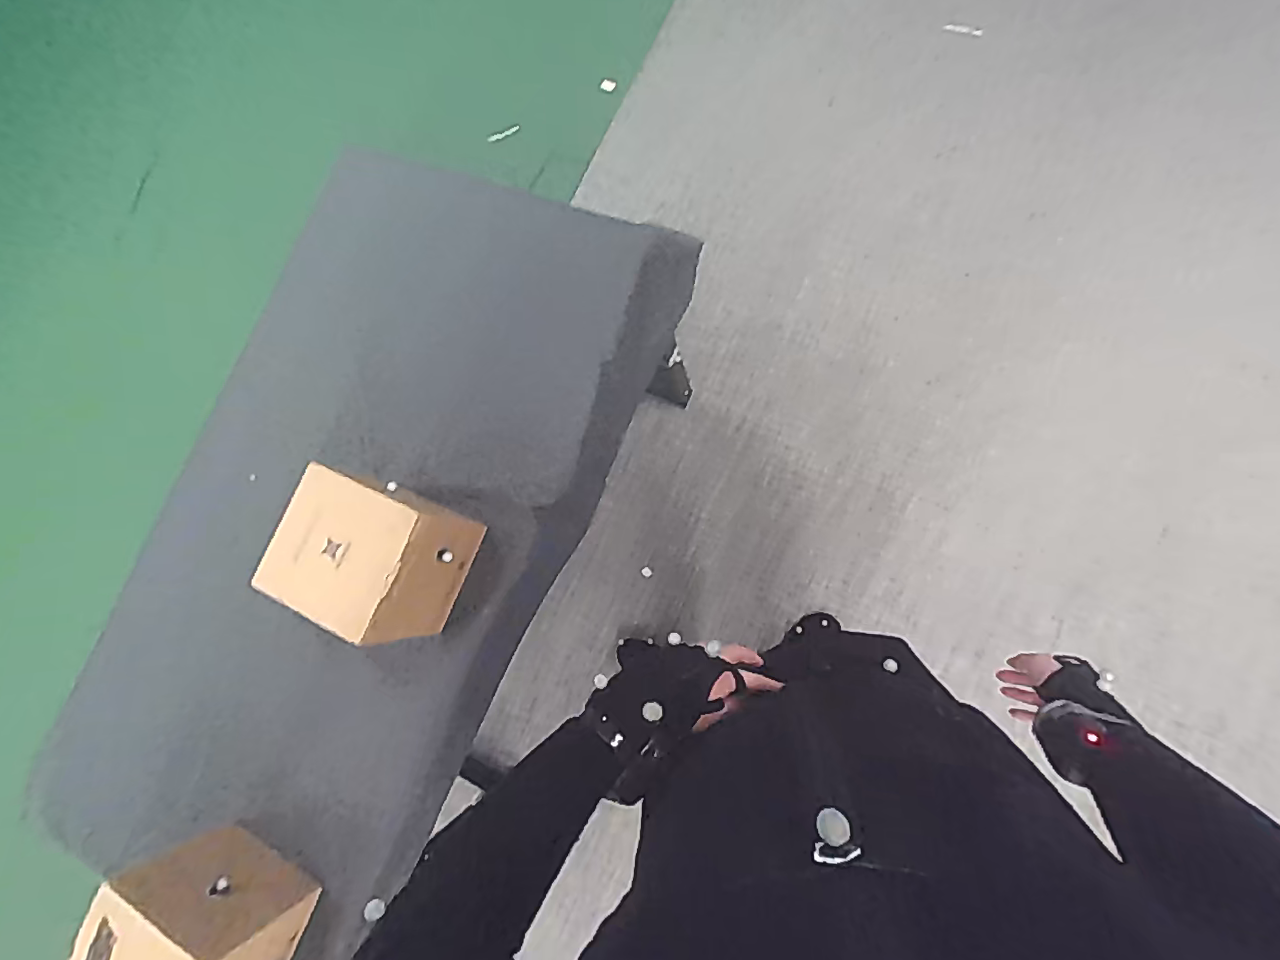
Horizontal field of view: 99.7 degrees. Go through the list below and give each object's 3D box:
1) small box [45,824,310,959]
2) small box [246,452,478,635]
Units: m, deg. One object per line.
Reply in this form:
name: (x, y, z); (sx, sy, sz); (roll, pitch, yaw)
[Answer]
small box: (-0.558, 0.559, 0.656); (0.179, 0.176, 0.168); (23, 85, 14)
small box: (-0.345, 0.084, 0.707); (0.179, 0.176, 0.168); (22, 83, 16)
